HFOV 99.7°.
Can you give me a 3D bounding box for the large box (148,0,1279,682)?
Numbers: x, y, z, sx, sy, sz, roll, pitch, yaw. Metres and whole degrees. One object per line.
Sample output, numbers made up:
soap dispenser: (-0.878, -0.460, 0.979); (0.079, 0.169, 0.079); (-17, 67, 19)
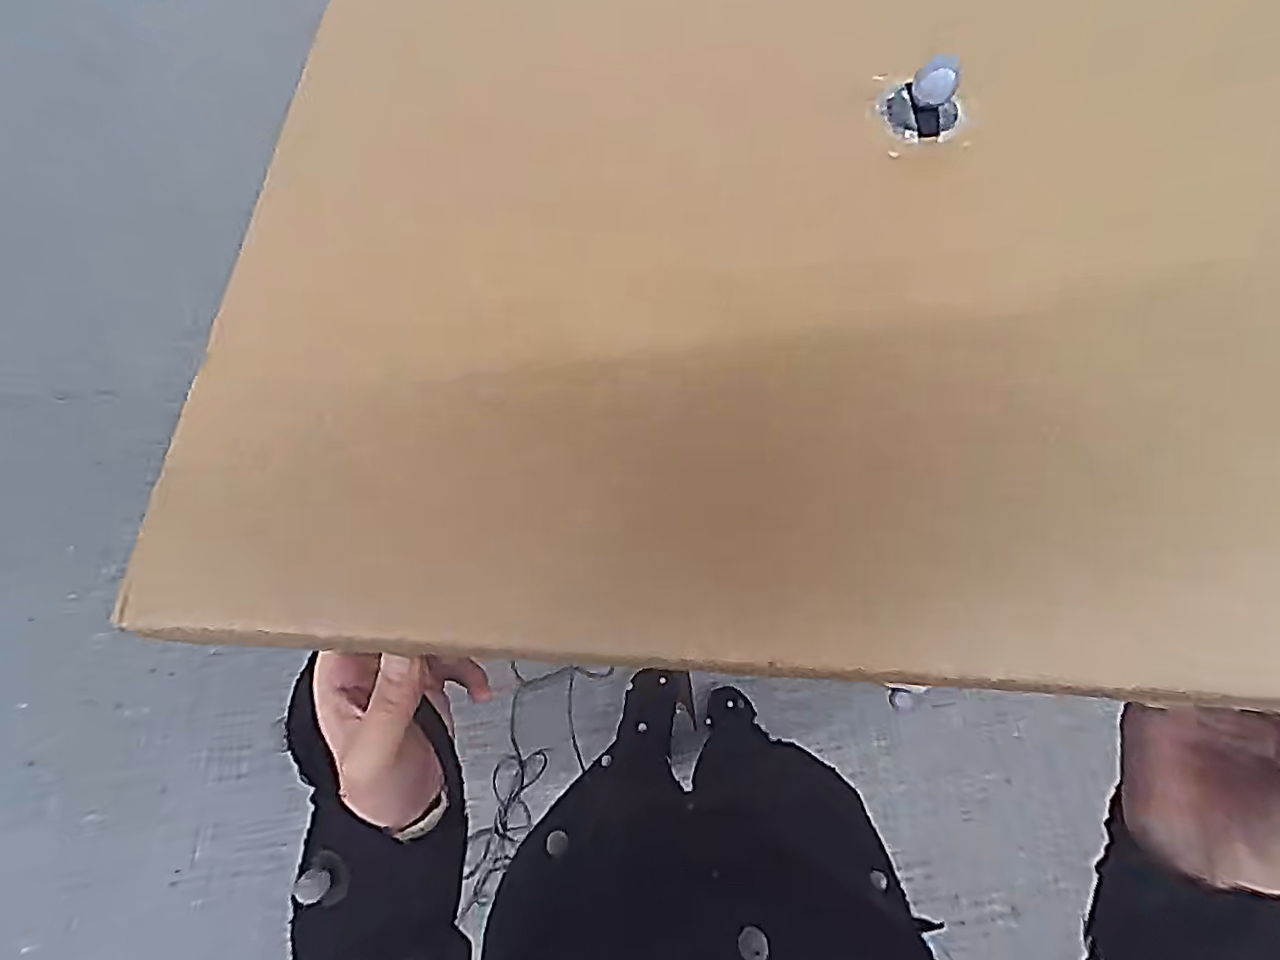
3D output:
large box: (0.082, -0.064, 0.309); (0.408, 0.320, 0.320); (2, 73, 2)
